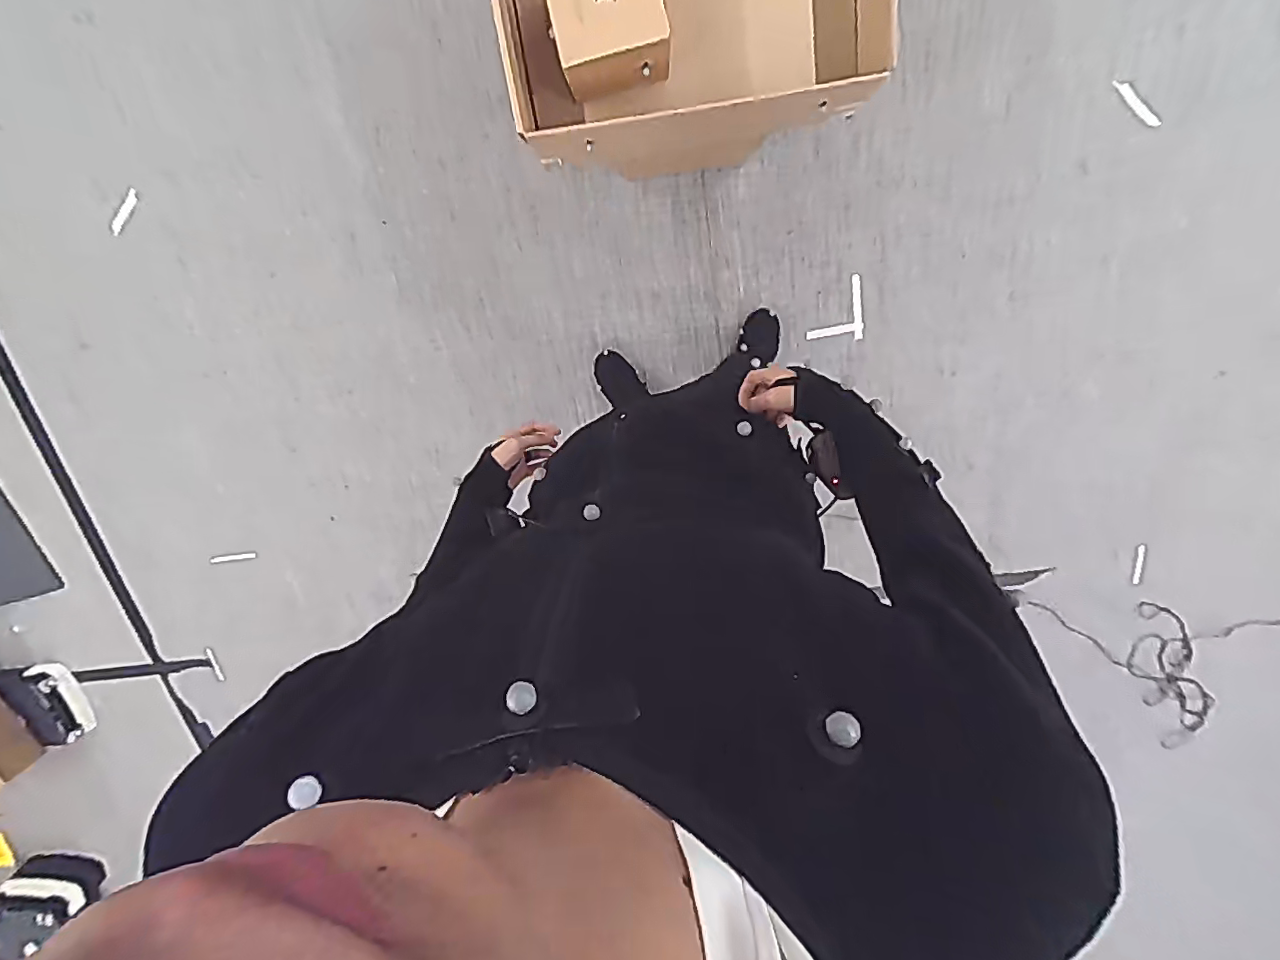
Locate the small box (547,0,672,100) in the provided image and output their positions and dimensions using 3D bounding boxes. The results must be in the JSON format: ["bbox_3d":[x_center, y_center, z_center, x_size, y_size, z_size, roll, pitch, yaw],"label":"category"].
[{"bbox_3d":[-0.051,-0.755,0.877,0.179,0.176,0.168,-12,108,6],"label":"small box"}]
